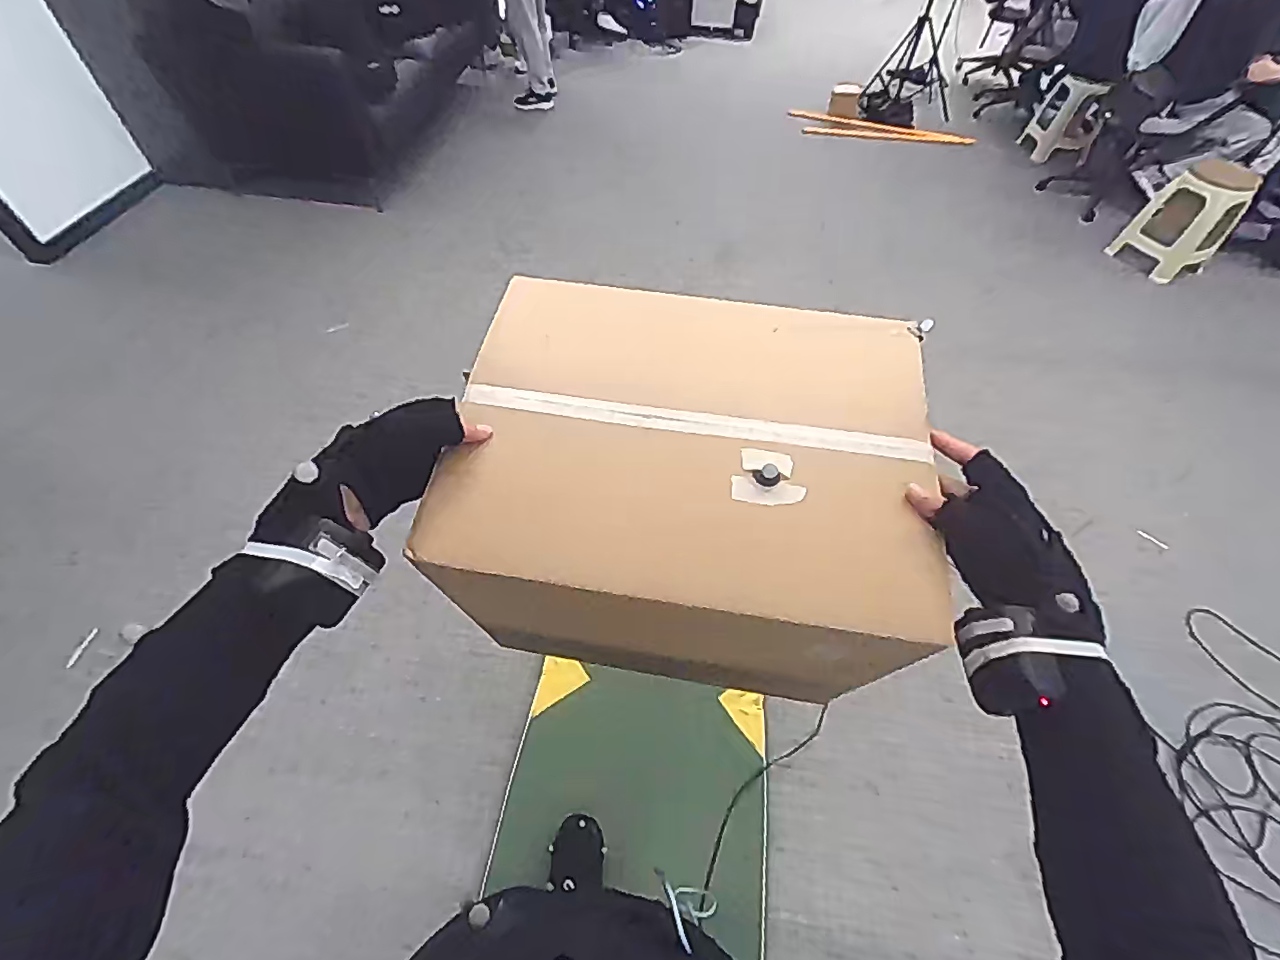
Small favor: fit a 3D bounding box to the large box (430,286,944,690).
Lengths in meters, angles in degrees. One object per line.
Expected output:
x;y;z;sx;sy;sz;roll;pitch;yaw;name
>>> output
0.048;0.026;0.610;0.408;0.320;0.320;9;61;4;large box
